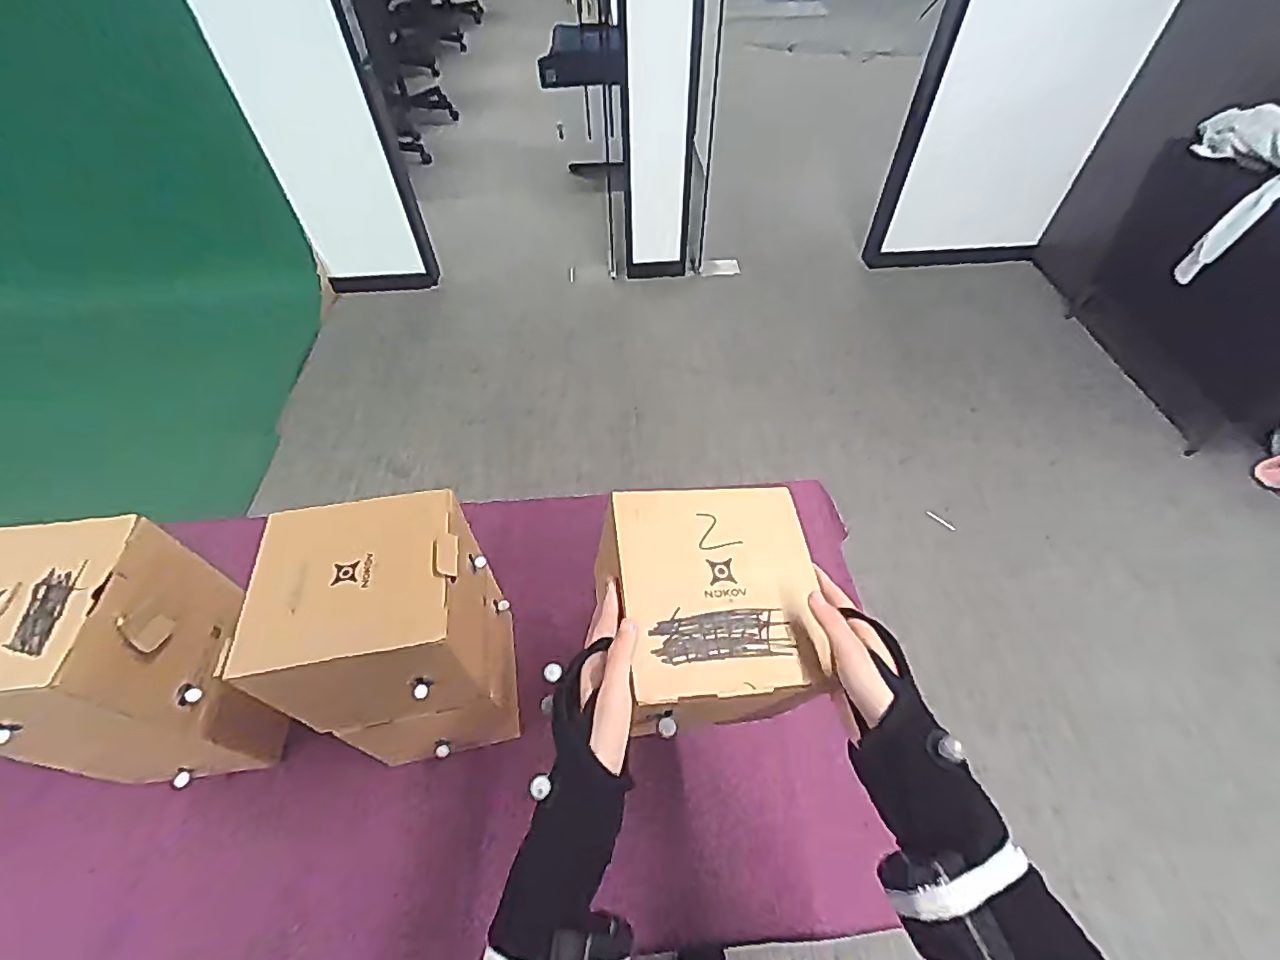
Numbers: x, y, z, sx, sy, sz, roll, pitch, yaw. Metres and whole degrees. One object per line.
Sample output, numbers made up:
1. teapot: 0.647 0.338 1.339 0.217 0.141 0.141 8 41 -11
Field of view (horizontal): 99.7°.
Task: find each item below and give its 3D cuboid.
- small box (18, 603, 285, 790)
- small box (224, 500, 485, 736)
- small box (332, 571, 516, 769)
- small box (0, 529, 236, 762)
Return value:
1. small box: -0.554 0.268 0.664 0.179 0.176 0.168 -5 52 -4
2. small box: -0.261 0.144 0.552 0.179 0.176 0.168 -9 52 -5
3. small box: -0.257 0.241 0.683 0.168 0.176 0.179 -10 53 -6
4. small box: -0.555 0.167 0.535 0.179 0.176 0.168 -6 52 -3
